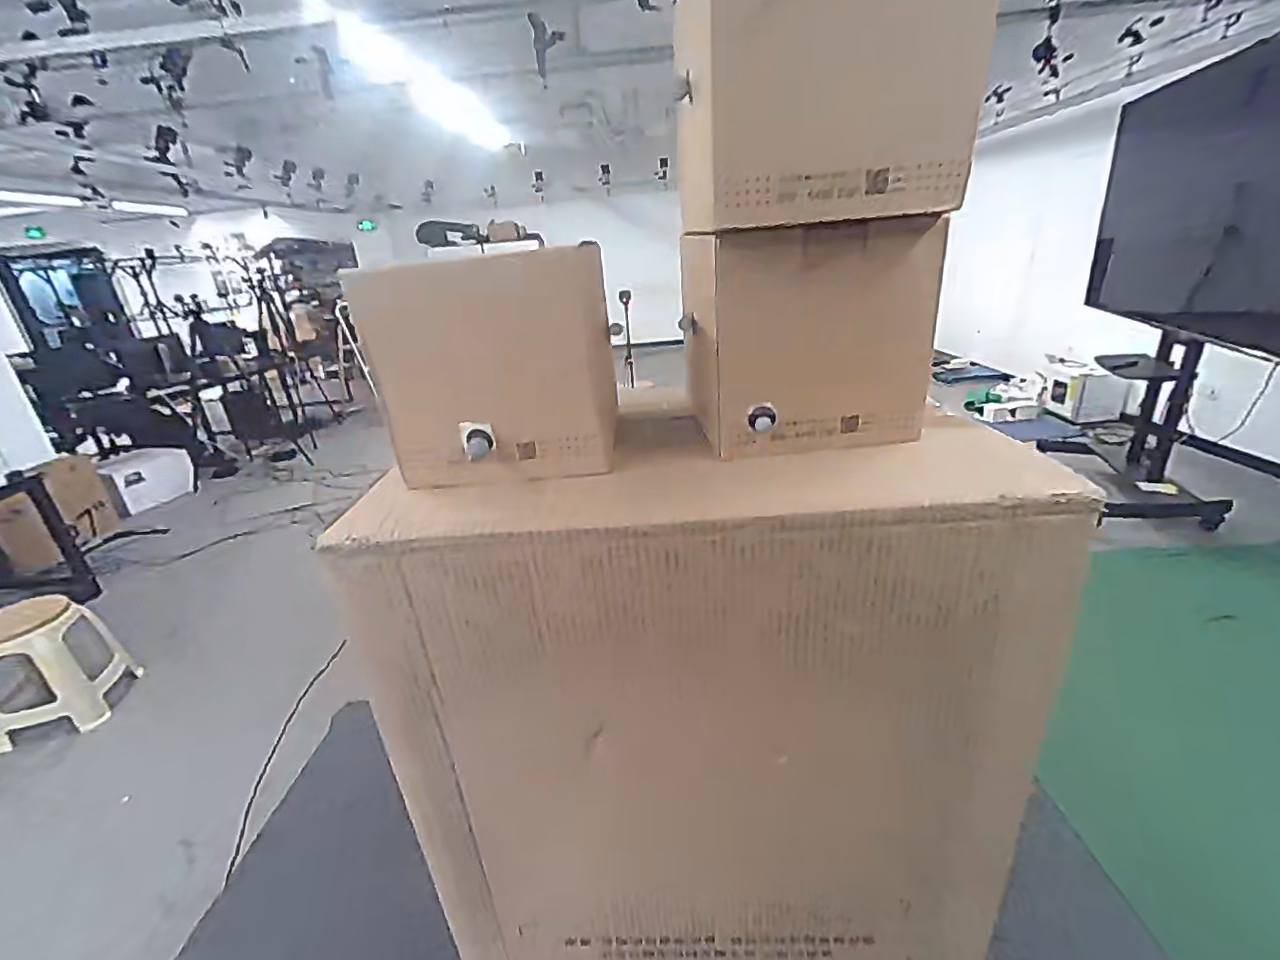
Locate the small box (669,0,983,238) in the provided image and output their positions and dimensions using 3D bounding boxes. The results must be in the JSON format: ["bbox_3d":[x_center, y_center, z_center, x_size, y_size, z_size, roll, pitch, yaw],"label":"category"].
[{"bbox_3d":[0.111,-0.271,0.392,0.168,0.176,0.179,-6,24,0],"label":"small box"}]

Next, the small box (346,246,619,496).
[{"bbox_3d":[-0.112,-0.101,0.472,0.168,0.176,0.179,-7,26,3],"label":"small box"}]

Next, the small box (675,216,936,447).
[{"bbox_3d":[0.128,-0.132,0.476,0.168,0.176,0.179,-6,23,-2],"label":"small box"}]
